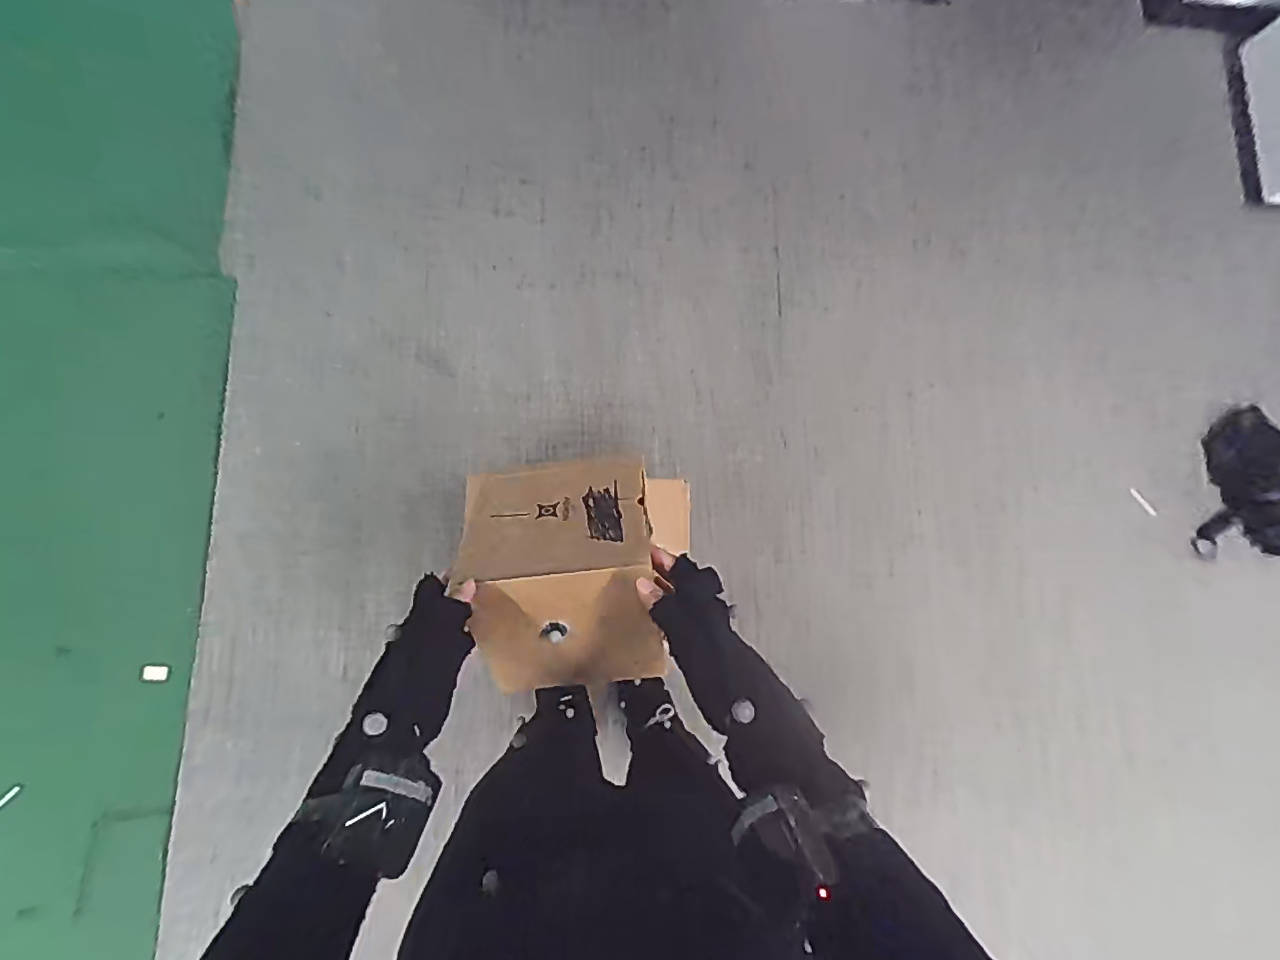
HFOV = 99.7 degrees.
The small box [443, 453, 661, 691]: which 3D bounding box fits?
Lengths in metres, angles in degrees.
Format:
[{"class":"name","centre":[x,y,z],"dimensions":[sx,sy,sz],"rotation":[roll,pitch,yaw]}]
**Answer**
[{"class":"small box","centre":[-0.073,0.096,0.562],"dimensions":[0.179,0.176,0.168],"rotation":[-8,38,4]}]
